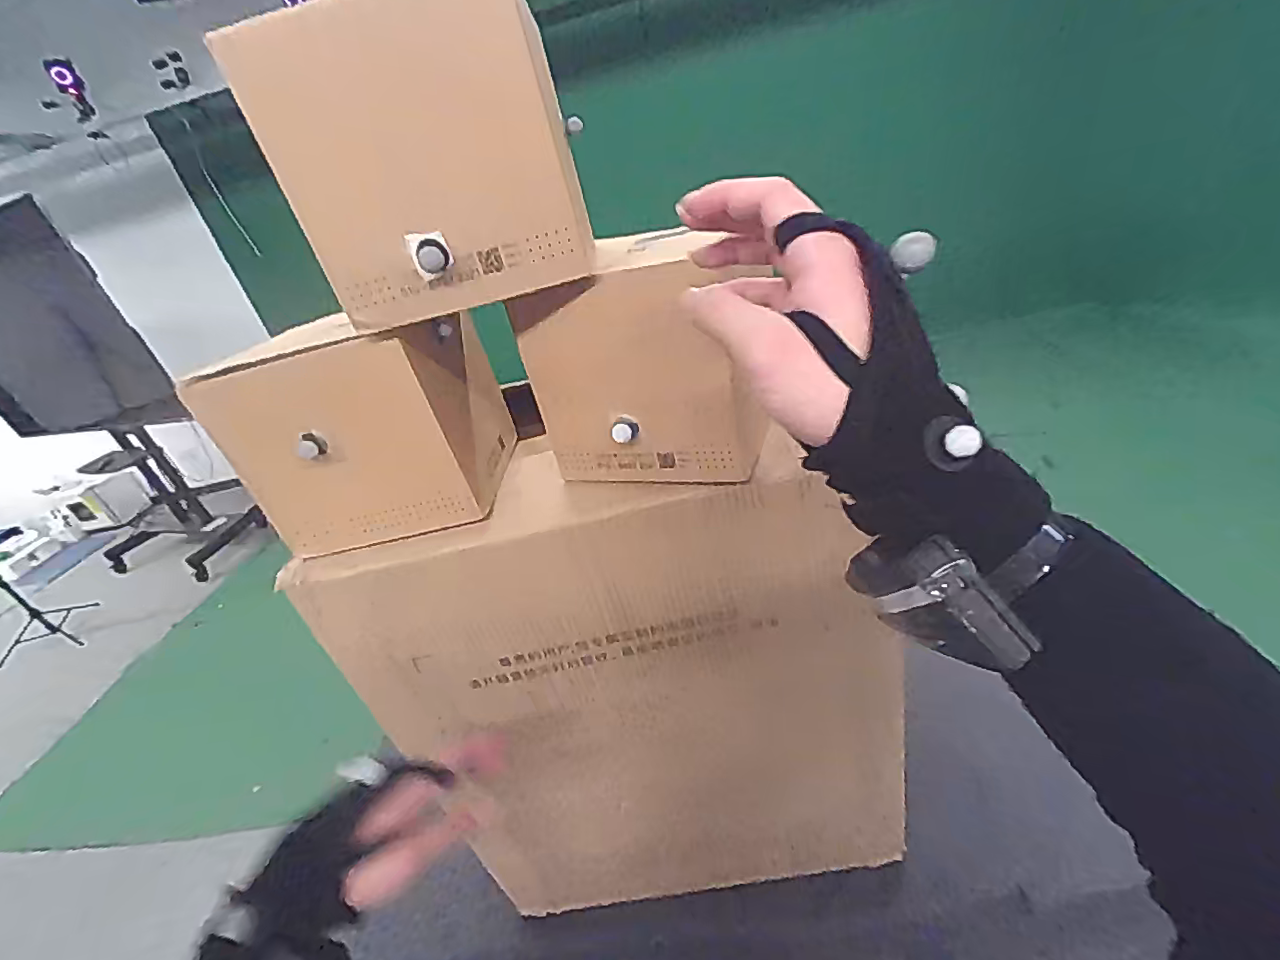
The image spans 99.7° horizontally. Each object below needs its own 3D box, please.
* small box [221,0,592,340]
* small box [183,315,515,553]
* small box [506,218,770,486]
[{"bbox_3d":[-0.138,-0.219,0.400,0.168,0.176,0.179,-15,30,3],"label":"small box"},{"bbox_3d":[-0.238,-0.054,0.497,0.179,0.176,0.168,-14,30,6],"label":"small box"},{"bbox_3d":[0.014,-0.111,0.474,0.168,0.176,0.179,-1,33,25],"label":"small box"}]
